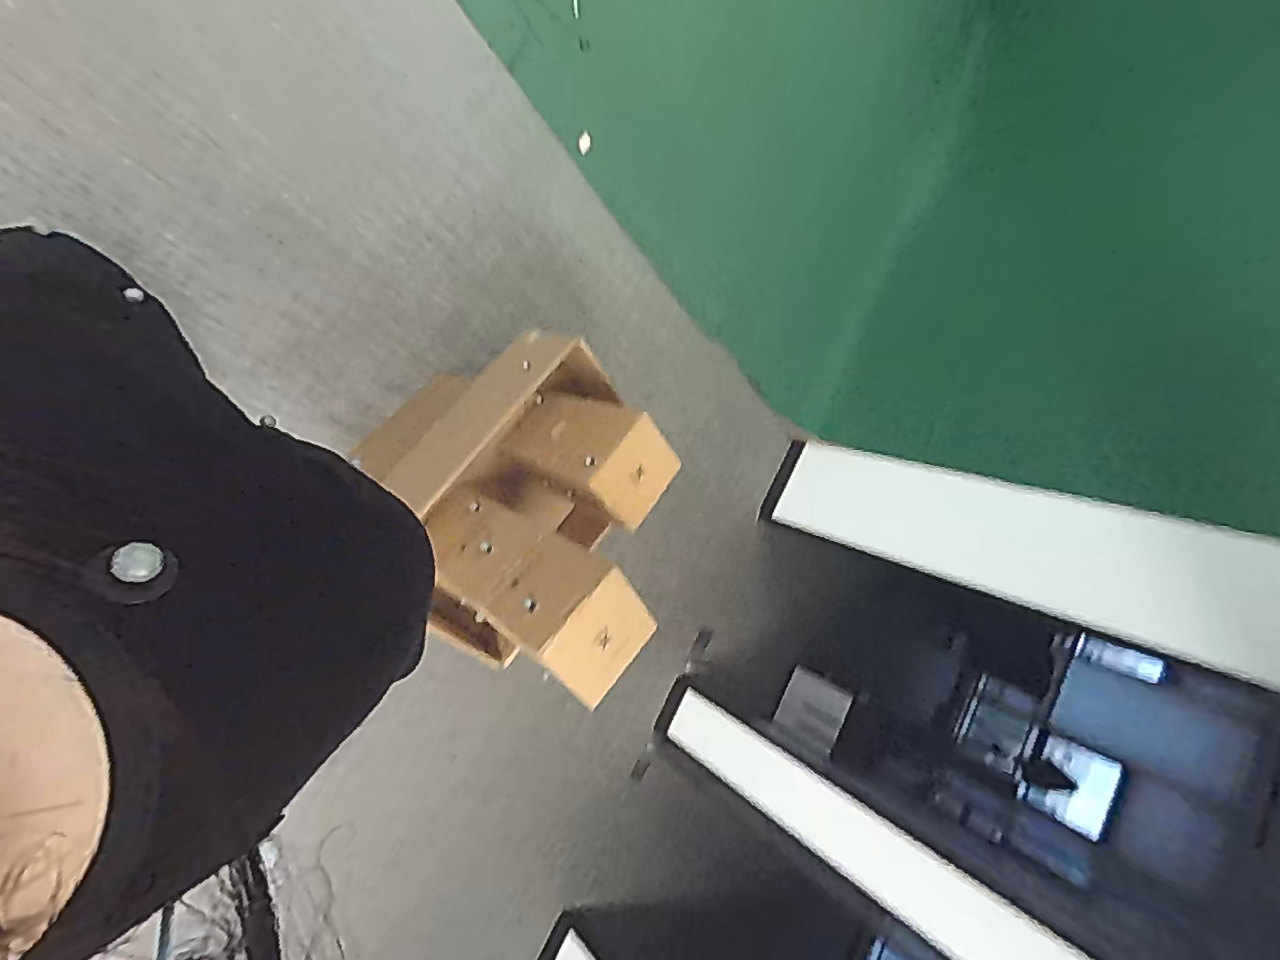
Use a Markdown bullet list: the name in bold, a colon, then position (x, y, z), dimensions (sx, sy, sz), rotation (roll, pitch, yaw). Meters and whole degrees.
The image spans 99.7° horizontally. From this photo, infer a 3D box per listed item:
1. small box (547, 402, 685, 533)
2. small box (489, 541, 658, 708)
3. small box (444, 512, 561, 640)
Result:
- **small box**: position (-0.049, -0.032, 1.065), dimensions (0.179, 0.176, 0.168), rotation (-52, 133, -15)
- **small box**: position (-0.107, 0.218, 0.862), dimensions (0.168, 0.176, 0.179), rotation (-46, 132, -21)
- **small box**: position (-0.218, 0.177, 0.976), dimensions (0.168, 0.176, 0.179), rotation (-47, 131, -21)
